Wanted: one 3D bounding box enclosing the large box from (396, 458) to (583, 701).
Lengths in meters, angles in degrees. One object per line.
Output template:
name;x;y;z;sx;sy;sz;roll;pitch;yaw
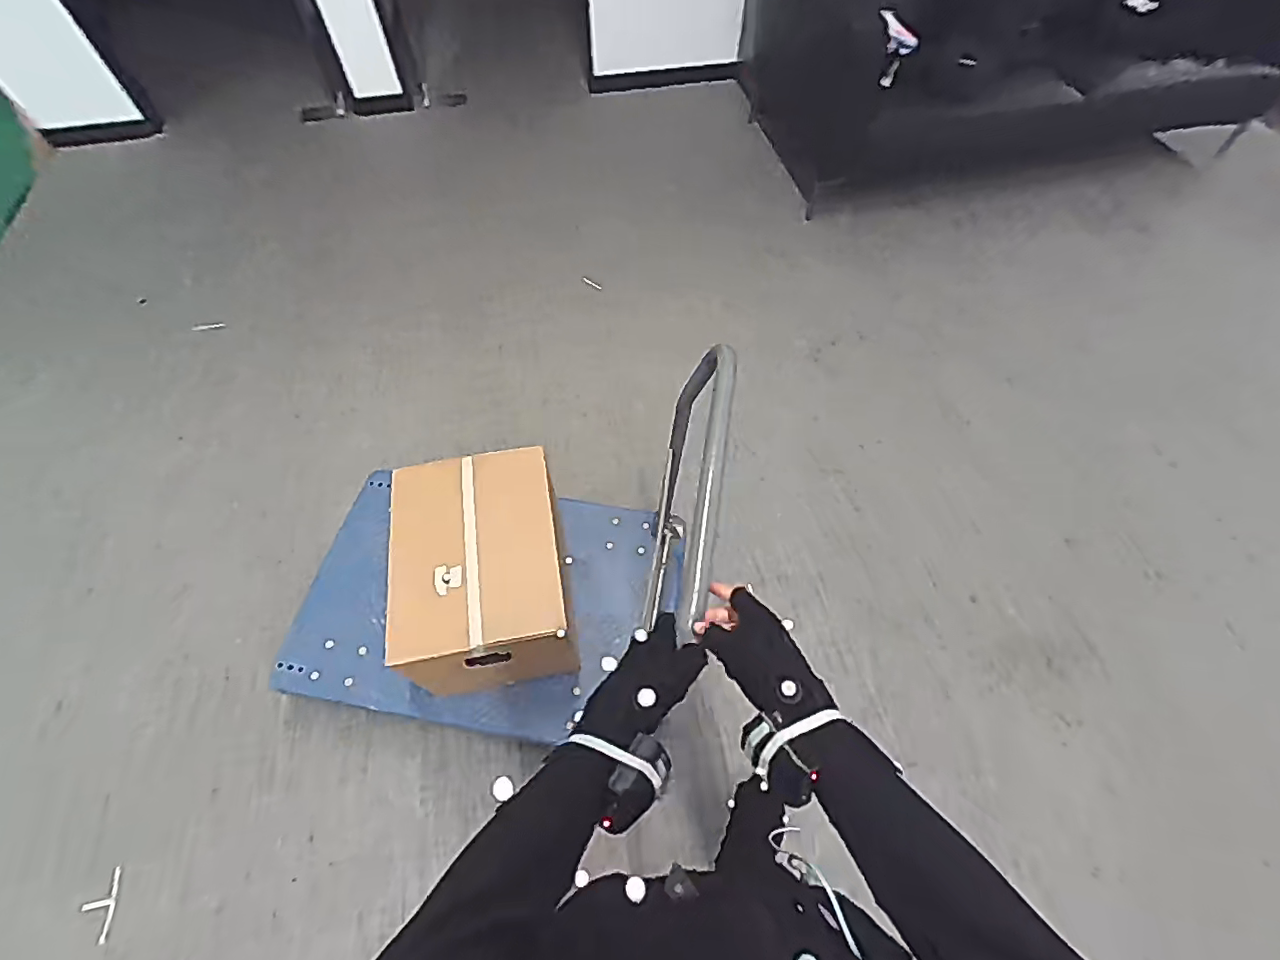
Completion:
large box;-0.314;0.218;1.171;0.320;0.320;0.408;-10;59;-6
